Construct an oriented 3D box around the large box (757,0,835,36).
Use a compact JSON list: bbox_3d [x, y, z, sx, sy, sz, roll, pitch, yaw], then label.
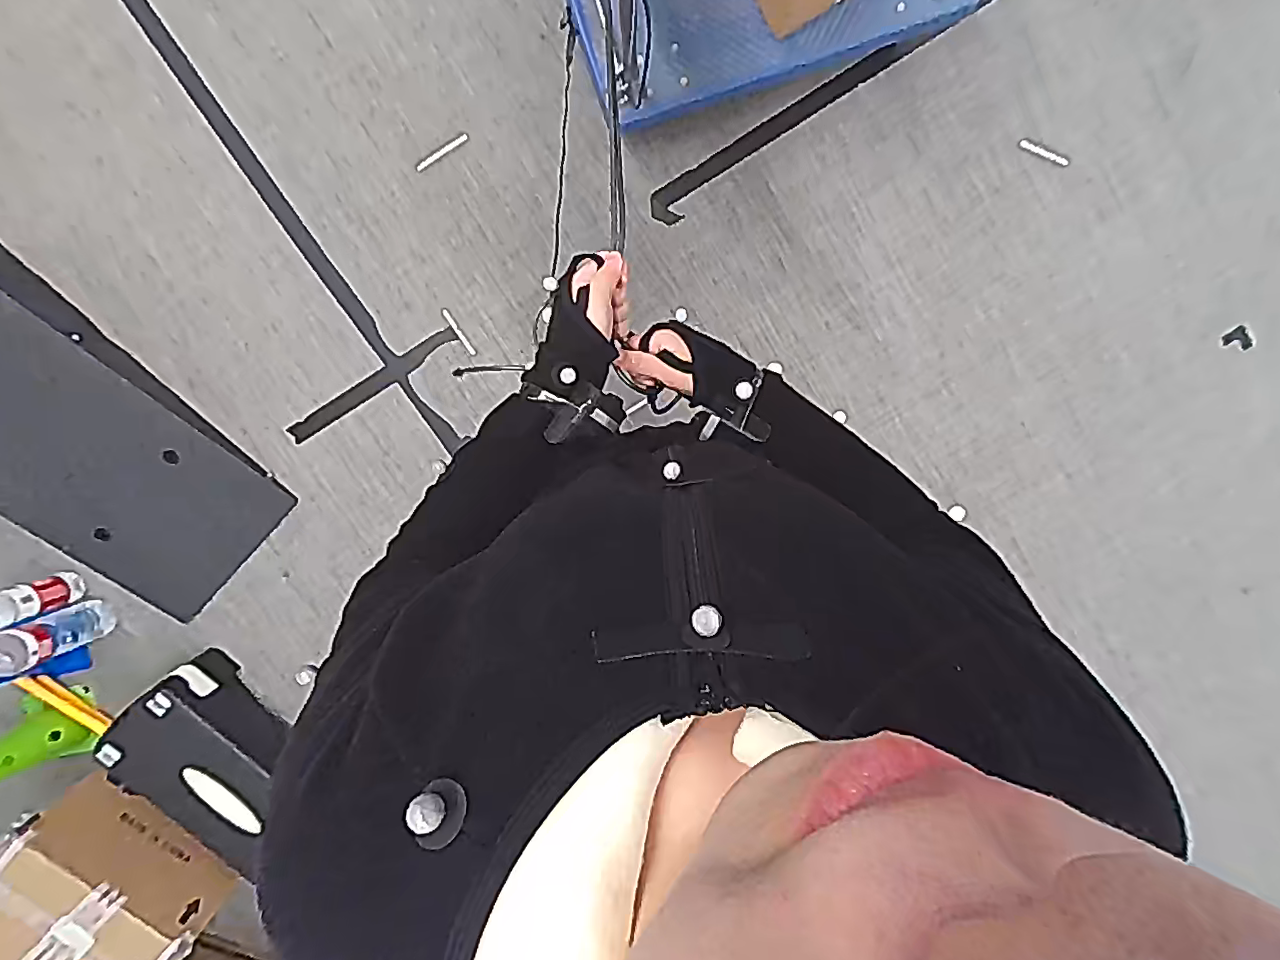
[{"bbox_3d":[0.325,-1.186,1.000,0.320,0.320,0.408,-32,99,3],"label":"large box"}]
